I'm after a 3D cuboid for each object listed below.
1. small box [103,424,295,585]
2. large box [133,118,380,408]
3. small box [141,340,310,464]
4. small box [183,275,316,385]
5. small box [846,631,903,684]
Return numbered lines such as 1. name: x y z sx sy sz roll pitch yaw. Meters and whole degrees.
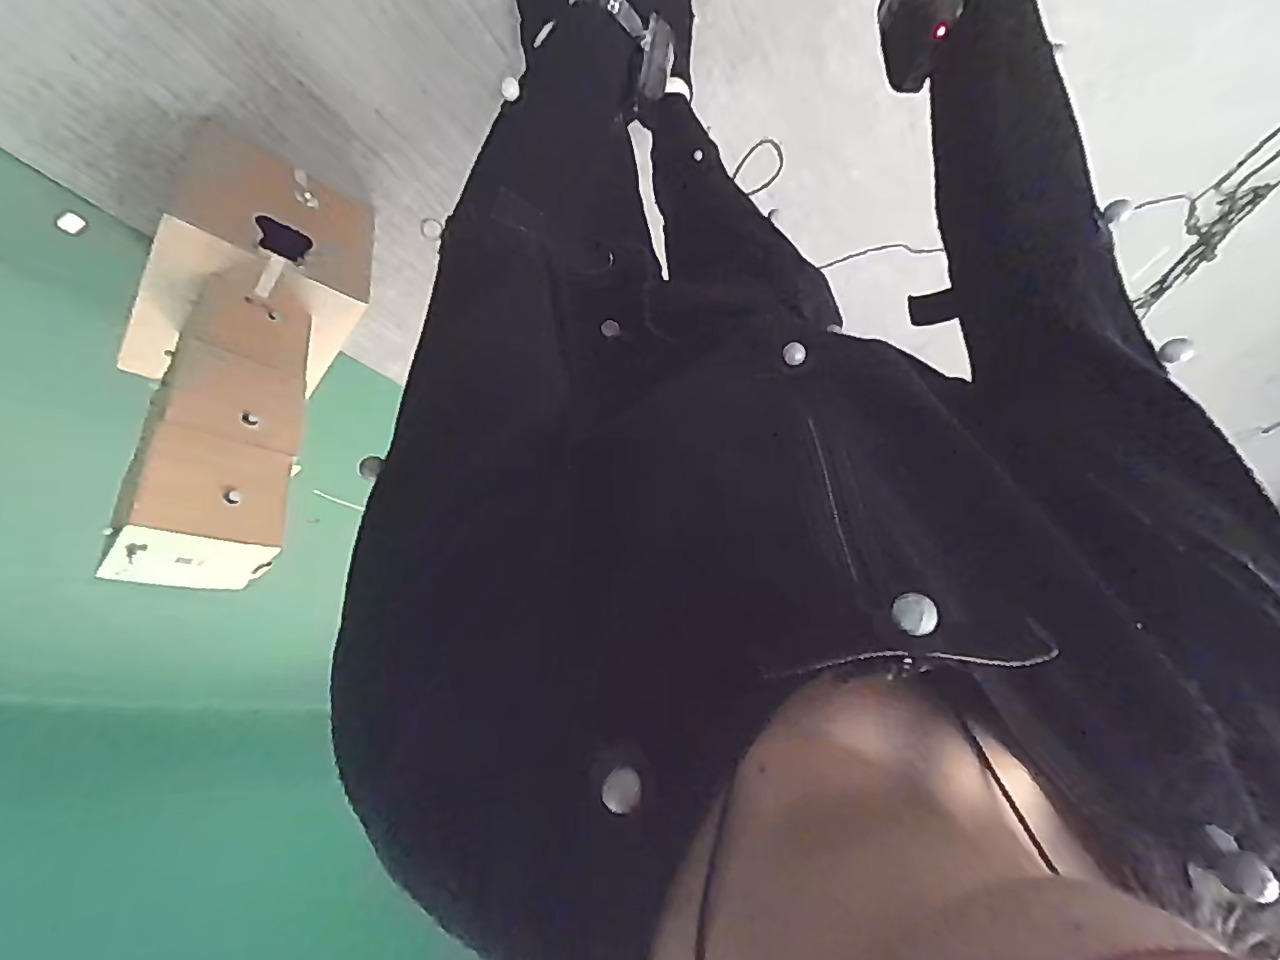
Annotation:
1. small box: -0.644 0.041 0.806 0.168 0.176 0.179 -33 146 29
2. large box: -0.779 -0.417 1.124 0.320 0.320 0.408 21 136 -41
3. small box: -0.673 -0.097 0.890 0.168 0.176 0.179 -32 145 28
4. small box: -0.711 -0.227 0.983 0.179 0.176 0.168 -34 145 29
5. small box: 1.017 0.769 2.349 0.168 0.176 0.179 -25 146 19
